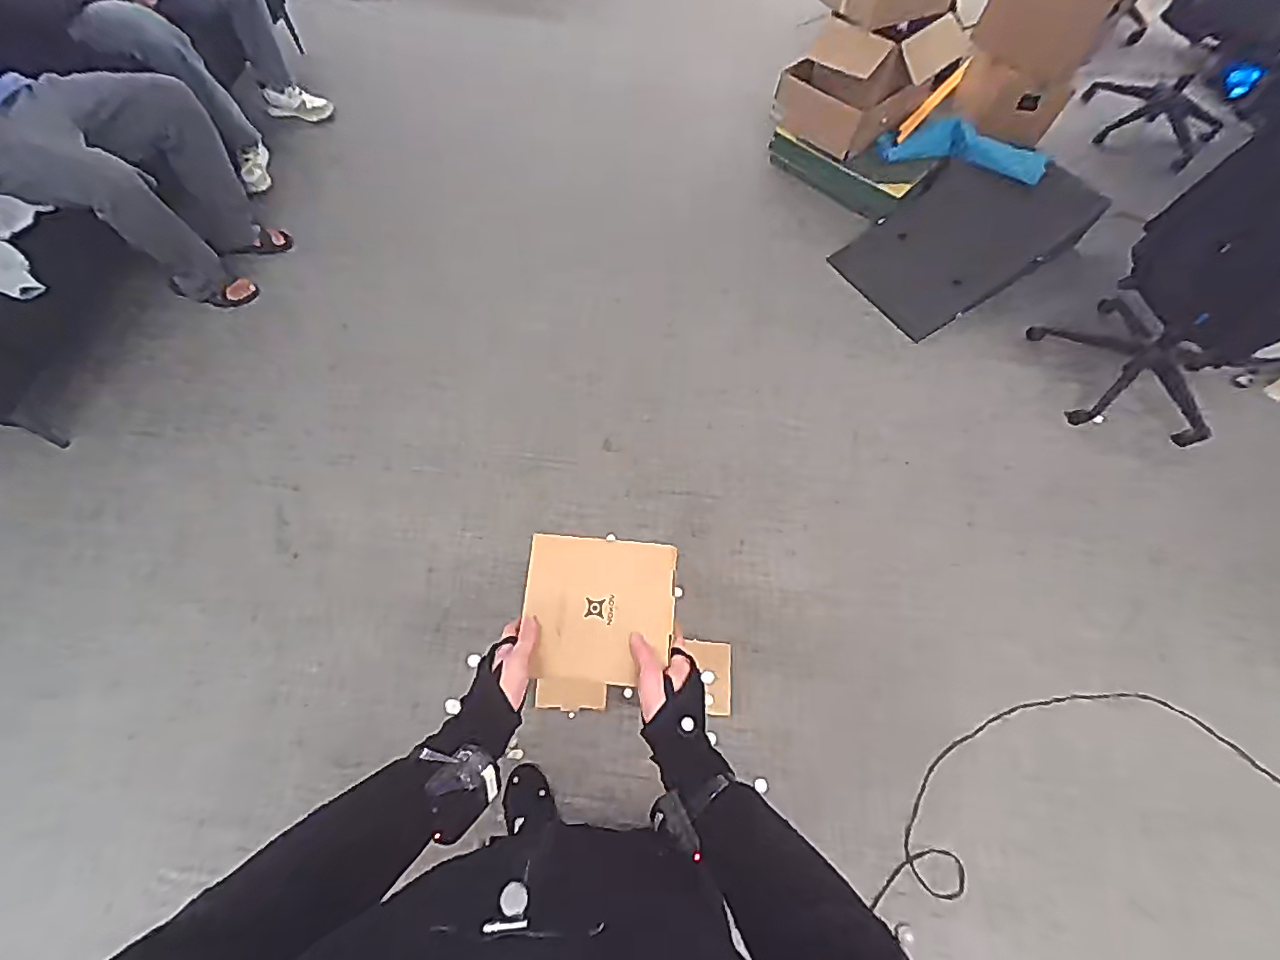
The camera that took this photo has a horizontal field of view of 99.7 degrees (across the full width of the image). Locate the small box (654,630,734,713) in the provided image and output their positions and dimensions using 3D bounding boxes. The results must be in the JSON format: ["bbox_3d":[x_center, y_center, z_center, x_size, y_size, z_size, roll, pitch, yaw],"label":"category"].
[{"bbox_3d":[0.131,0.487,1.363,0.179,0.176,0.168,9,66,3],"label":"small box"}]

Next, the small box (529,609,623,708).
[{"bbox_3d":[-0.155,0.454,1.361,0.179,0.176,0.168,-26,66,-12],"label":"small box"}]
